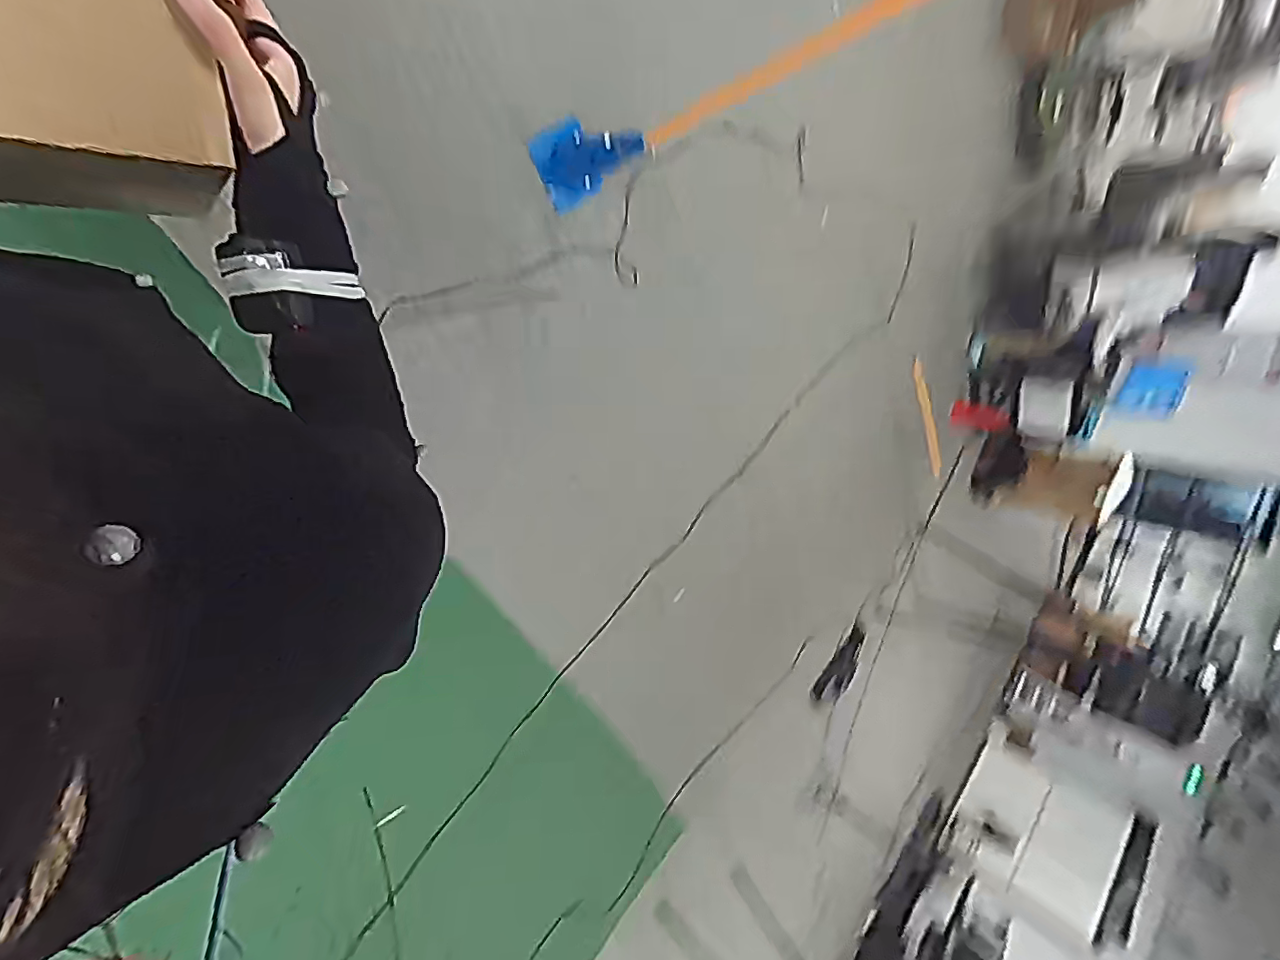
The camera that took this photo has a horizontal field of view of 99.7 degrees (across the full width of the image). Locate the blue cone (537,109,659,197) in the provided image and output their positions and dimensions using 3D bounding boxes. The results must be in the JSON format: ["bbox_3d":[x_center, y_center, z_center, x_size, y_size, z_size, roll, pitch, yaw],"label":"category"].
[{"bbox_3d":[-0.093,-0.915,1.463,0.192,0.380,0.193,-48,129,-20],"label":"blue cone"}]
